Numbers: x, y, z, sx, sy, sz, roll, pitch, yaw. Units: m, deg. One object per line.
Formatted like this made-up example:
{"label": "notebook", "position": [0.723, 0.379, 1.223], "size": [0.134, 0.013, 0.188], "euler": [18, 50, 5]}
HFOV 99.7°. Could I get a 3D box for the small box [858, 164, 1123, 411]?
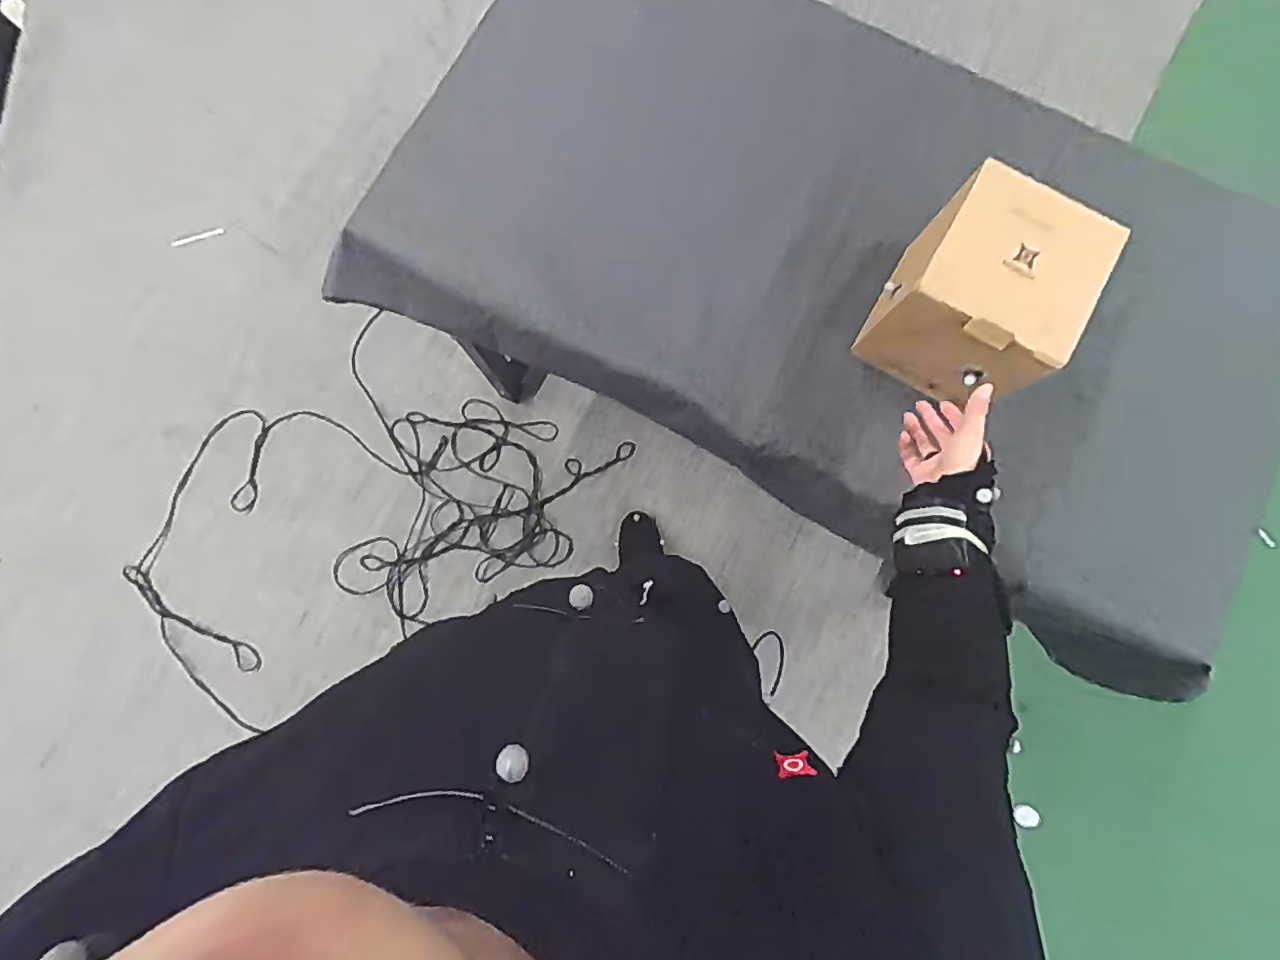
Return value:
{"label": "small box", "position": [0.382, -0.204, 0.625], "size": [0.168, 0.176, 0.179], "euler": [30, 81, 3]}
